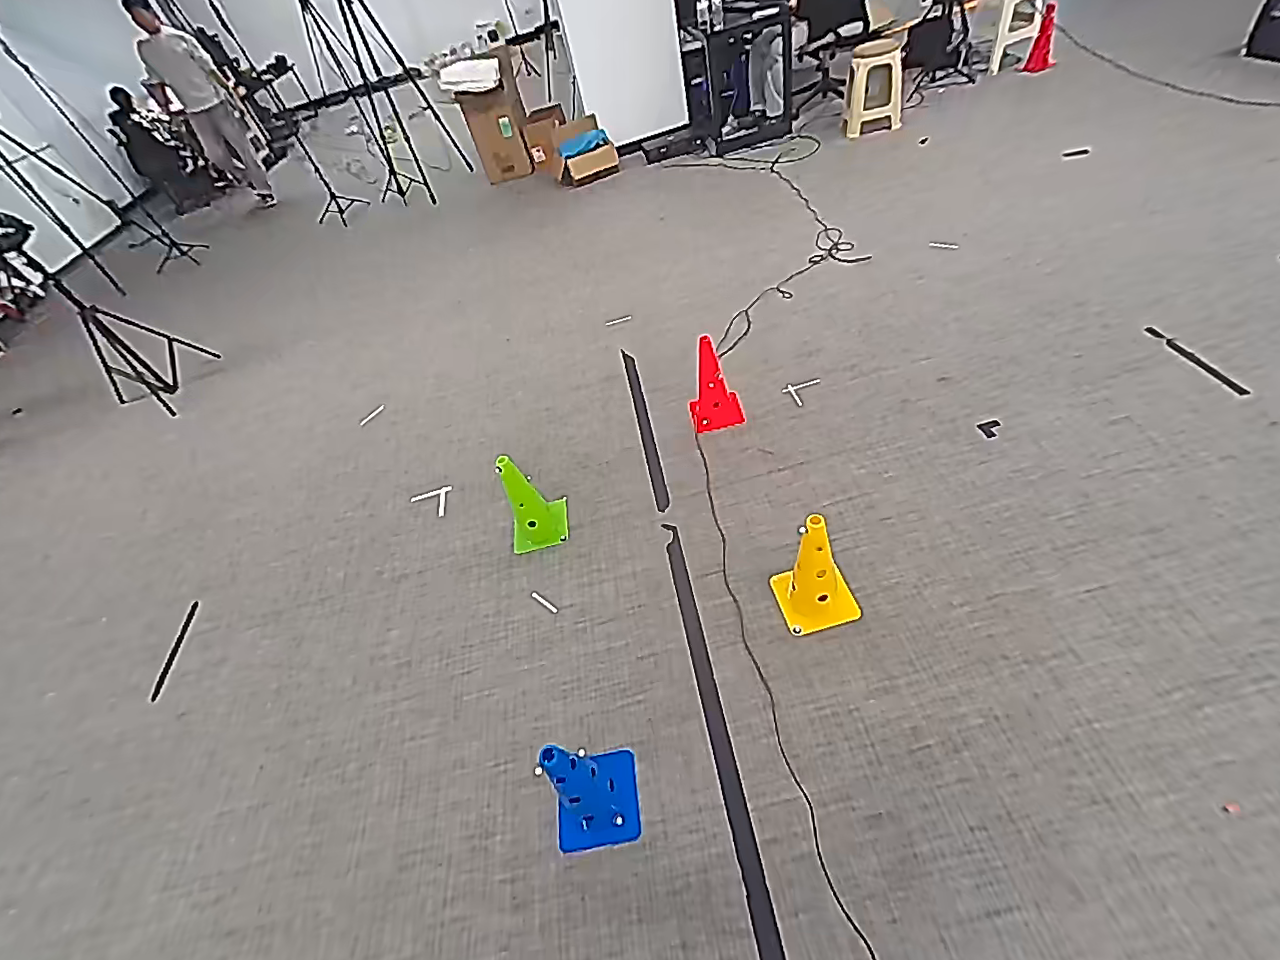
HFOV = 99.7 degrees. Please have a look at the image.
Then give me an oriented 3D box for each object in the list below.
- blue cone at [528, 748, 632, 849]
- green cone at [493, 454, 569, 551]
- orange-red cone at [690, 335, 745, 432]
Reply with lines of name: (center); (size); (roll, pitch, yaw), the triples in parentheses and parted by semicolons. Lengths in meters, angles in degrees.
blue cone: (-0.152, 0.668, 1.199); (0.192, 0.380, 0.193); (-13, 46, 7)
green cone: (-0.397, 0.044, 1.828); (0.202, 0.368, 0.200); (-16, 46, 4)
orange-red cone: (0.269, -0.382, 2.023); (0.199, 0.360, 0.198); (-11, 48, 6)
